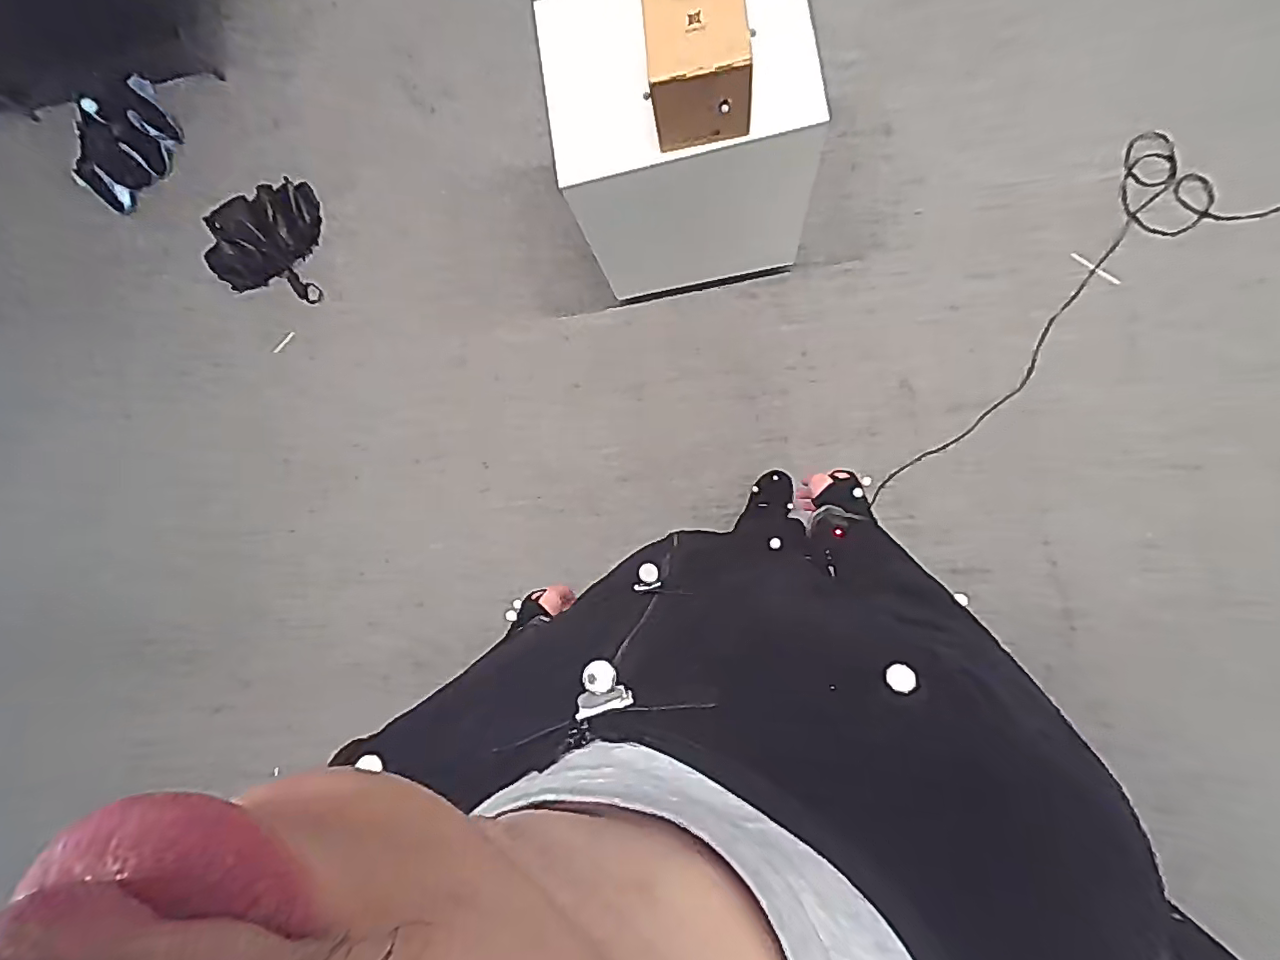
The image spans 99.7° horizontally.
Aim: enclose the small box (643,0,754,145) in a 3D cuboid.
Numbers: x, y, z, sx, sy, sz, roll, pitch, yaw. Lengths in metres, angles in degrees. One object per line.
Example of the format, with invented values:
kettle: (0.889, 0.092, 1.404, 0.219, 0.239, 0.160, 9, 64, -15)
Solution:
small box: (0.102, -0.711, 0.927, 0.168, 0.176, 0.179, -6, 83, 8)
